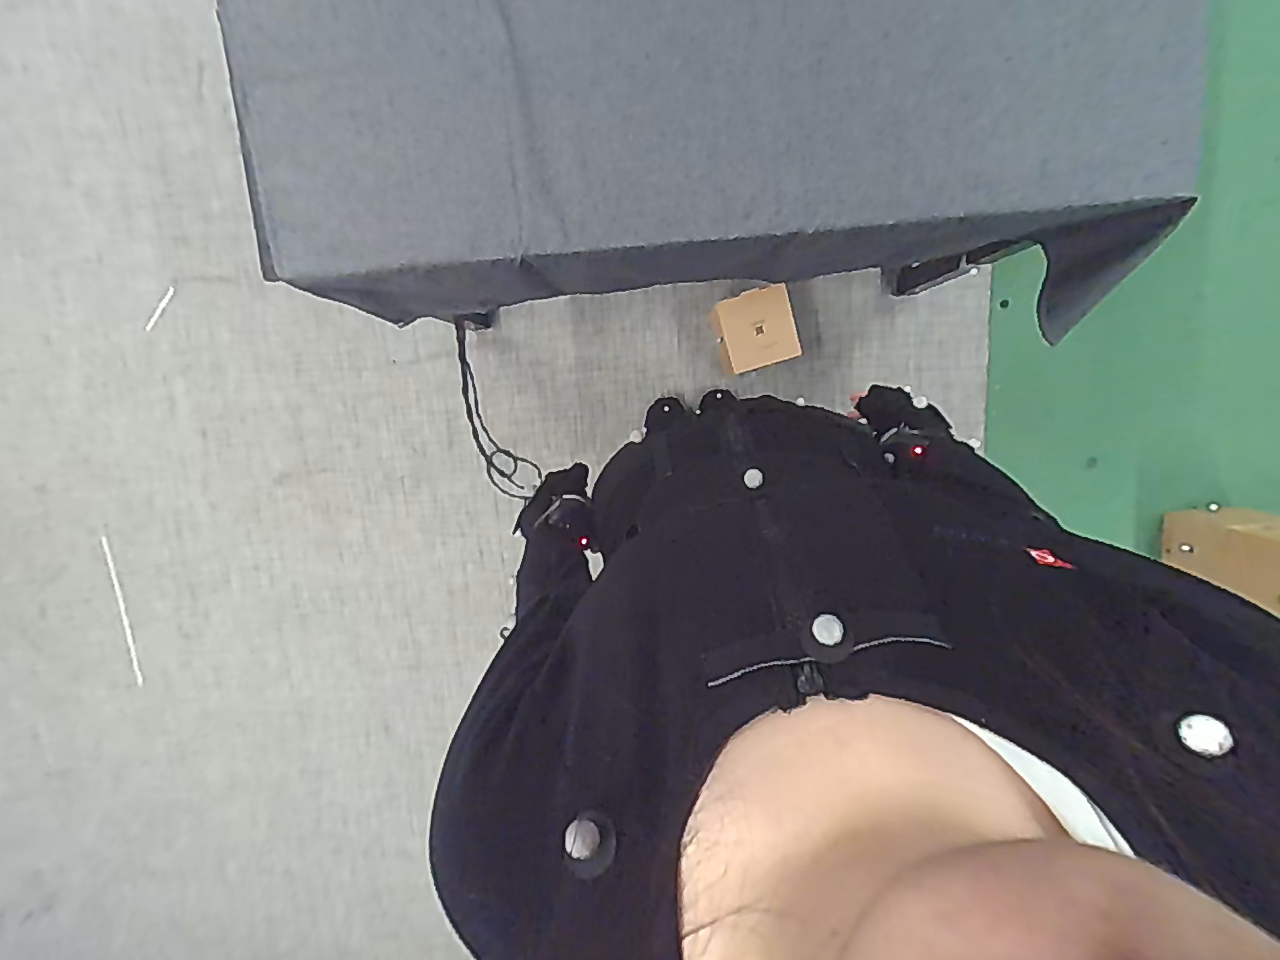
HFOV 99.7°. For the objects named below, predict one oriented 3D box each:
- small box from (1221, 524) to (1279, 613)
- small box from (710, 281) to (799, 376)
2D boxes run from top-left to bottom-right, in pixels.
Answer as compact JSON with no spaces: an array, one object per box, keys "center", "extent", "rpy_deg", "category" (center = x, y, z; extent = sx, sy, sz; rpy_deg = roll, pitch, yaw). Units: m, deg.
[{"center":[1.467,0.199,1.207],"extent":[0.168,0.176,0.179],"rpy_deg":[-6,99,3],"category":"small box"},{"center":[0.275,-0.365,1.334],"extent":[0.168,0.176,0.179],"rpy_deg":[-15,97,5],"category":"small box"}]
